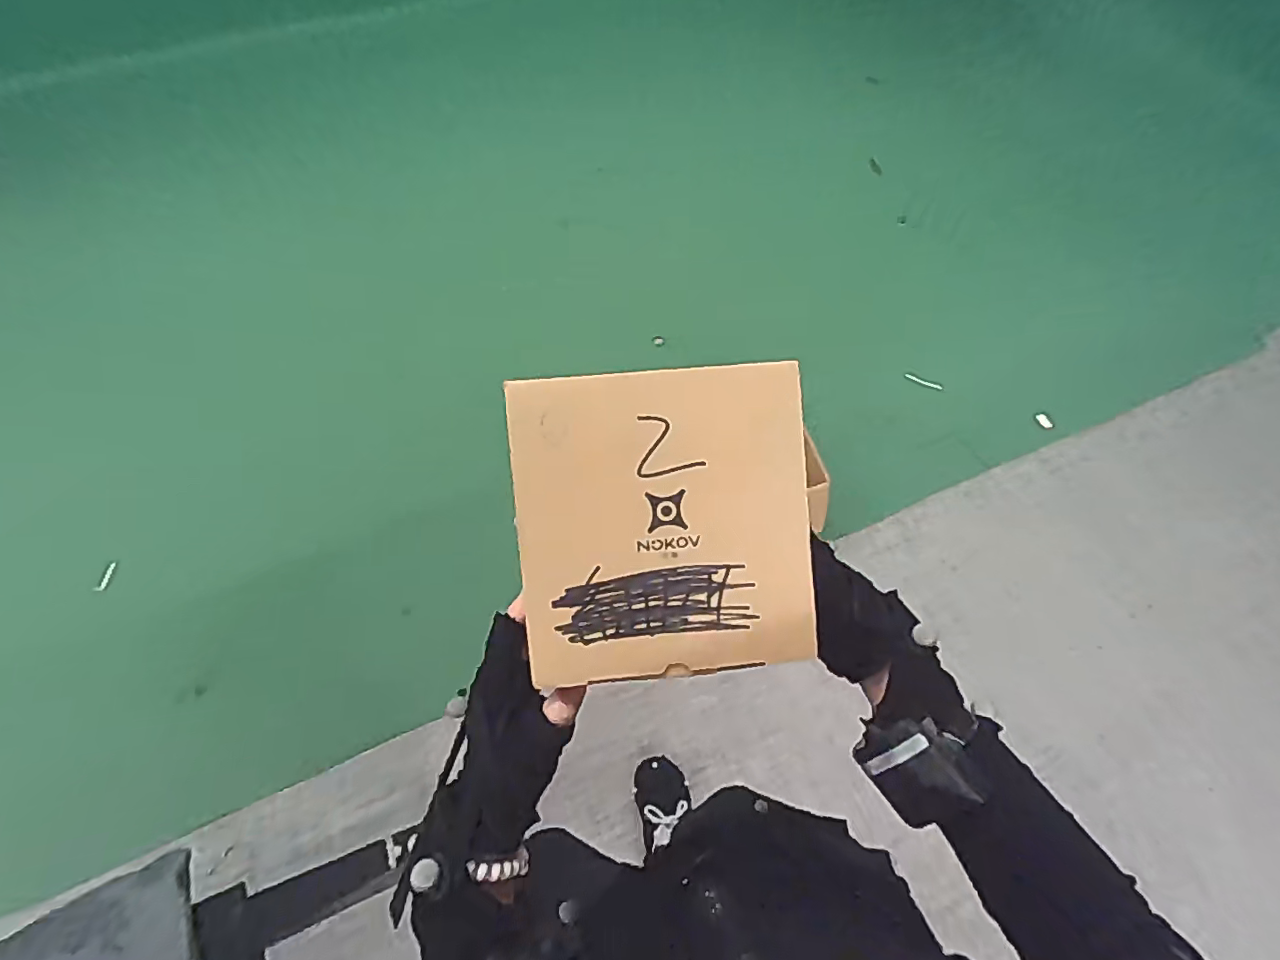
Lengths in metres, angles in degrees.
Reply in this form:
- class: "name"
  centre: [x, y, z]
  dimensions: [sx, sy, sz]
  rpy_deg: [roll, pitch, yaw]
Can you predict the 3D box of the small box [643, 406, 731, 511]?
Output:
- class: "small box"
  centre: [0.105, -0.047, 1.297]
  dimensions: [0.168, 0.176, 0.179]
  rpy_deg: [-14, 66, -5]
